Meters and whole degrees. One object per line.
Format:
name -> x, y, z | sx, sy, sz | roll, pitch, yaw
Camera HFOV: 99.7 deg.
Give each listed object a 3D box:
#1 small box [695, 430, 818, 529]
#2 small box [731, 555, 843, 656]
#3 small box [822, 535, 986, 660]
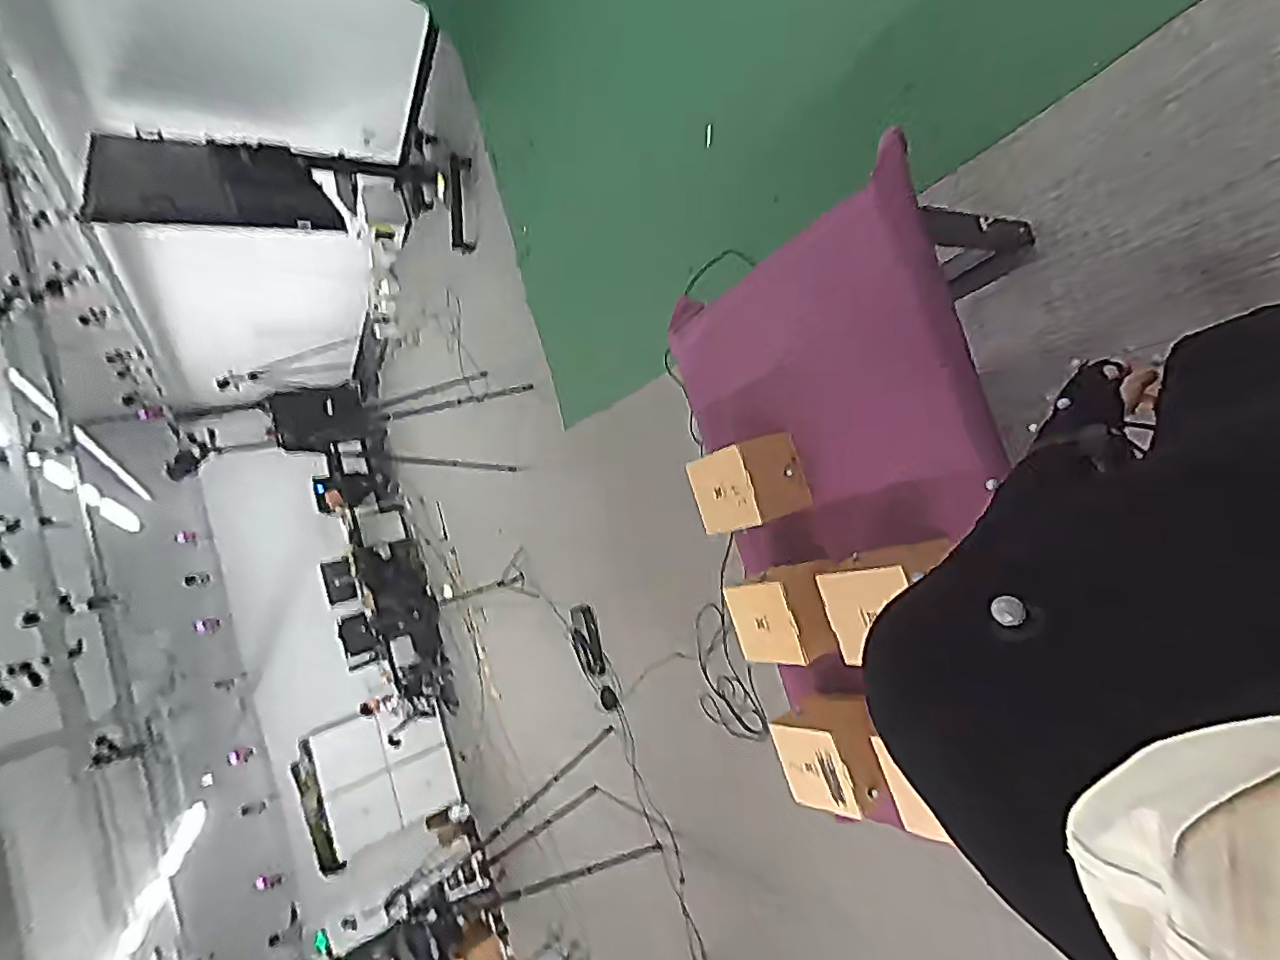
small box -> 0.254, 0.000, 1.188 | 0.179, 0.176, 0.168 | -23, 83, 56
small box -> 0.335, 0.270, 1.173 | 0.179, 0.176, 0.168 | -26, 80, 55
small box -> 0.465, 0.205, 0.957 | 0.179, 0.176, 0.168 | -25, 82, 56
